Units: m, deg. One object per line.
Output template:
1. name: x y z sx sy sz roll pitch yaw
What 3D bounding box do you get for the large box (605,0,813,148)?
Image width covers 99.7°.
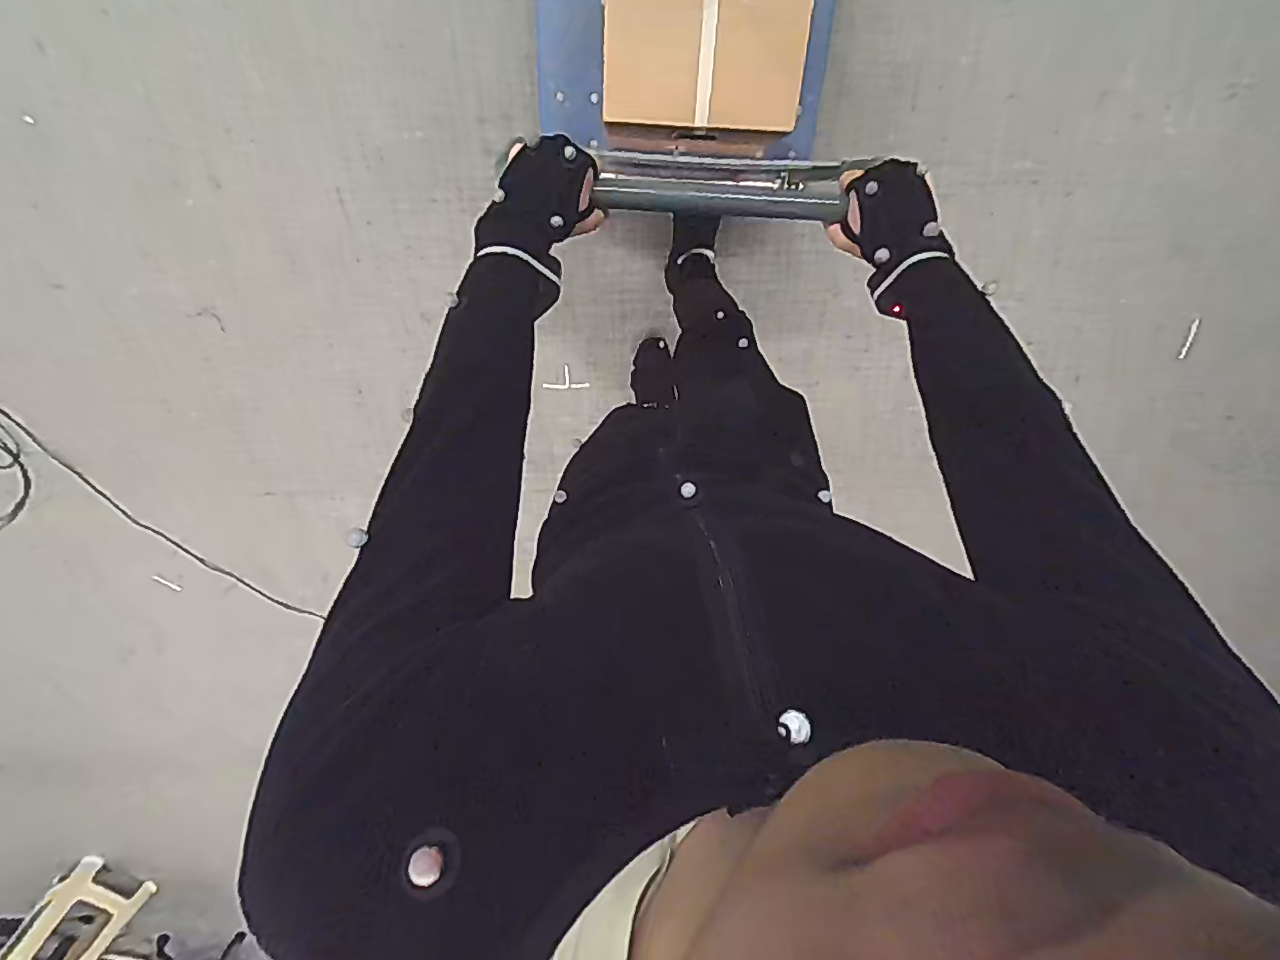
1. large box: 0.108 -0.823 0.923 0.320 0.320 0.408 3 115 -2
